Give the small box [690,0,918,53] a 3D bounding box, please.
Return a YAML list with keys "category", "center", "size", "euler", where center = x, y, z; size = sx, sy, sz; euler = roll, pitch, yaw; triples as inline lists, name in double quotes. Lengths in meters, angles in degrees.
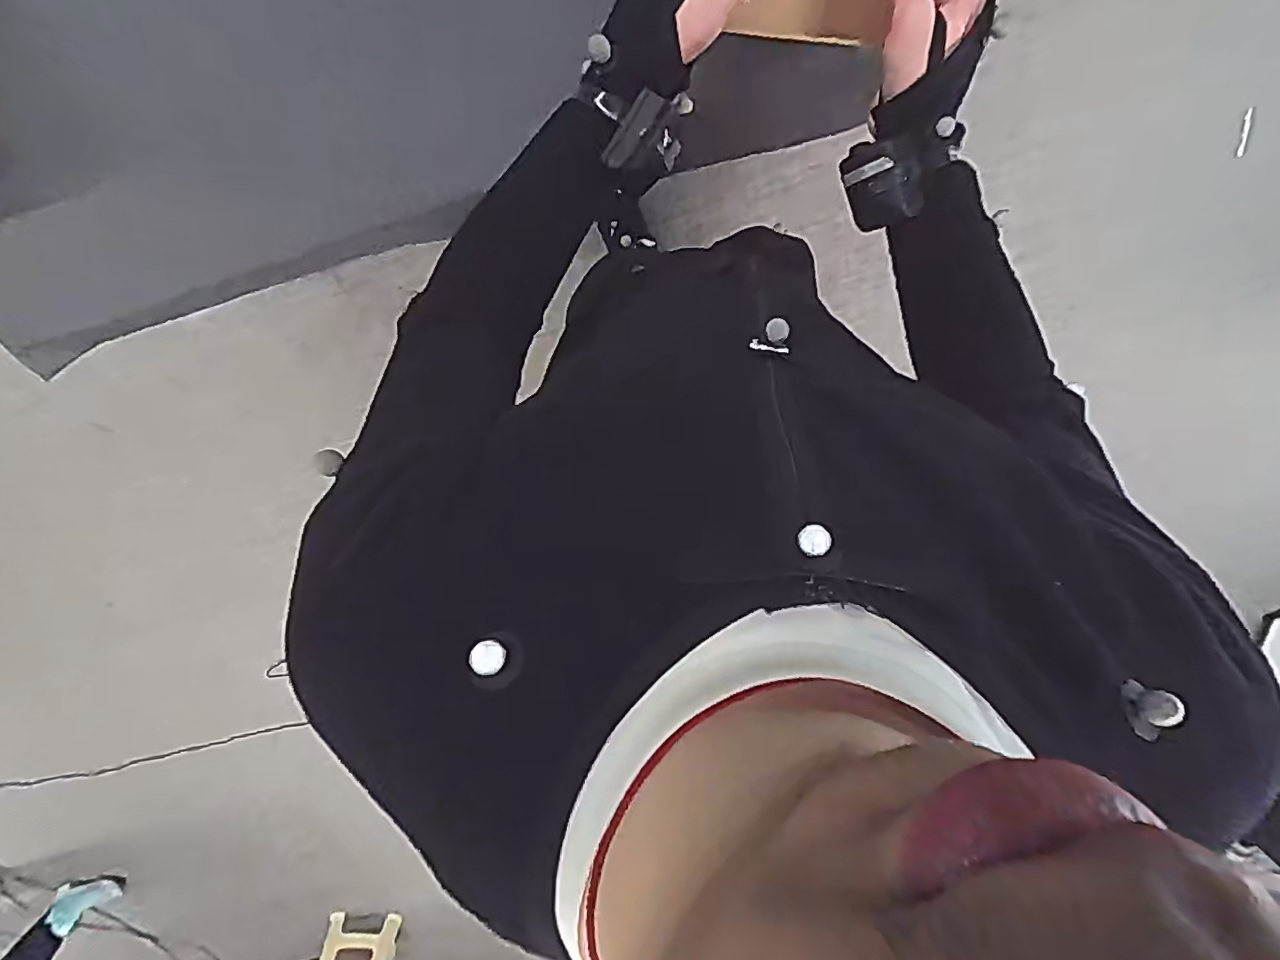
- category: "small box"
  center: [0.136, -0.471, 0.416]
  size: [0.179, 0.176, 0.168]
  euler: [2, 150, -4]
